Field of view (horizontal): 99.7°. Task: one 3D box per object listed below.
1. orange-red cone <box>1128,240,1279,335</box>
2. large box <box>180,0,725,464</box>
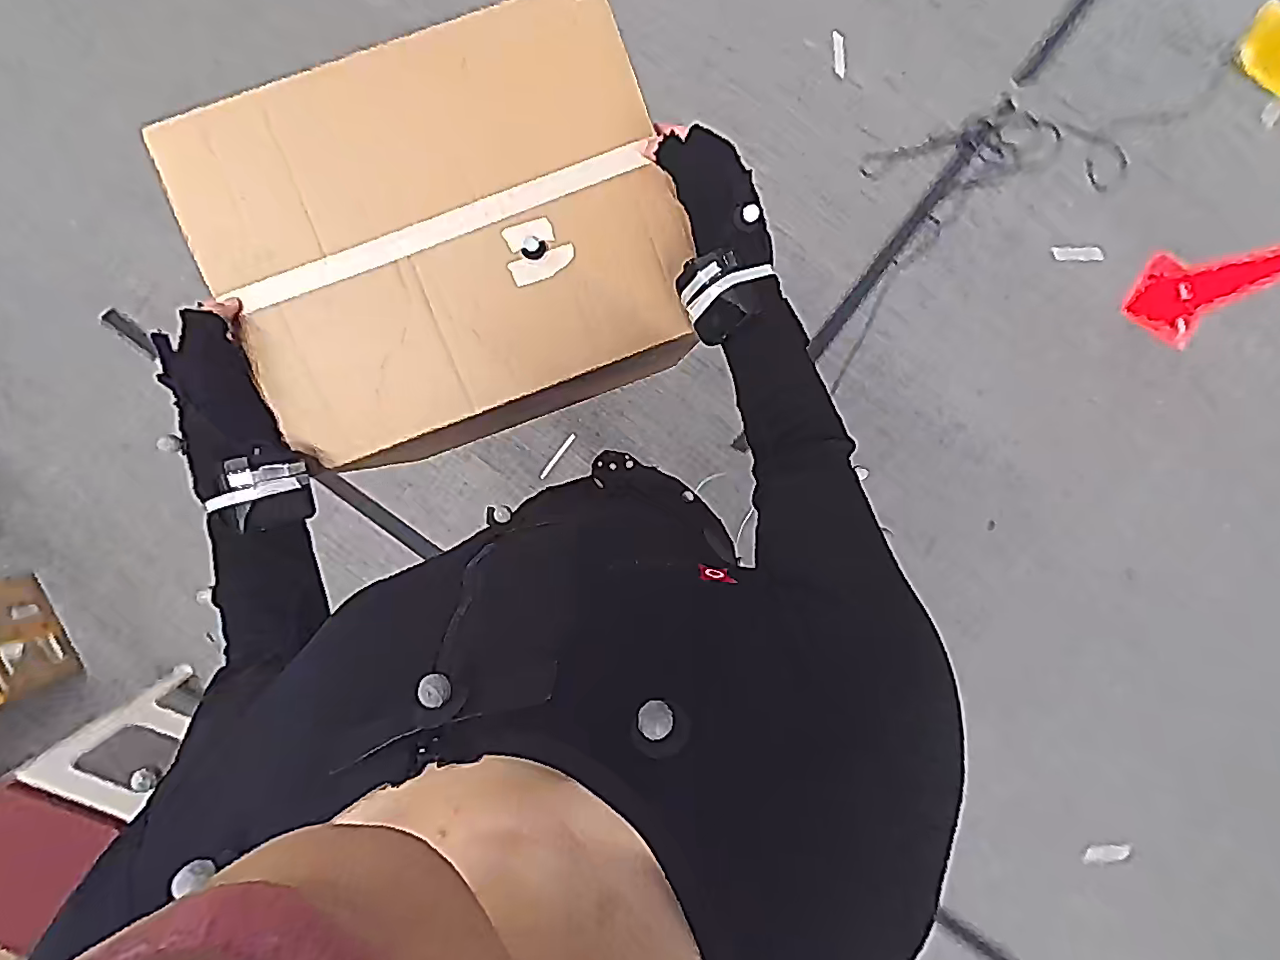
[{"bbox_3d":[1.468,-0.523,1.318,0.198,0.360,0.199,34,89,-1],"label":"orange-red cone"},{"bbox_3d":[-0.167,-0.232,0.624,0.408,0.320,0.320,-20,96,-2],"label":"large box"}]
